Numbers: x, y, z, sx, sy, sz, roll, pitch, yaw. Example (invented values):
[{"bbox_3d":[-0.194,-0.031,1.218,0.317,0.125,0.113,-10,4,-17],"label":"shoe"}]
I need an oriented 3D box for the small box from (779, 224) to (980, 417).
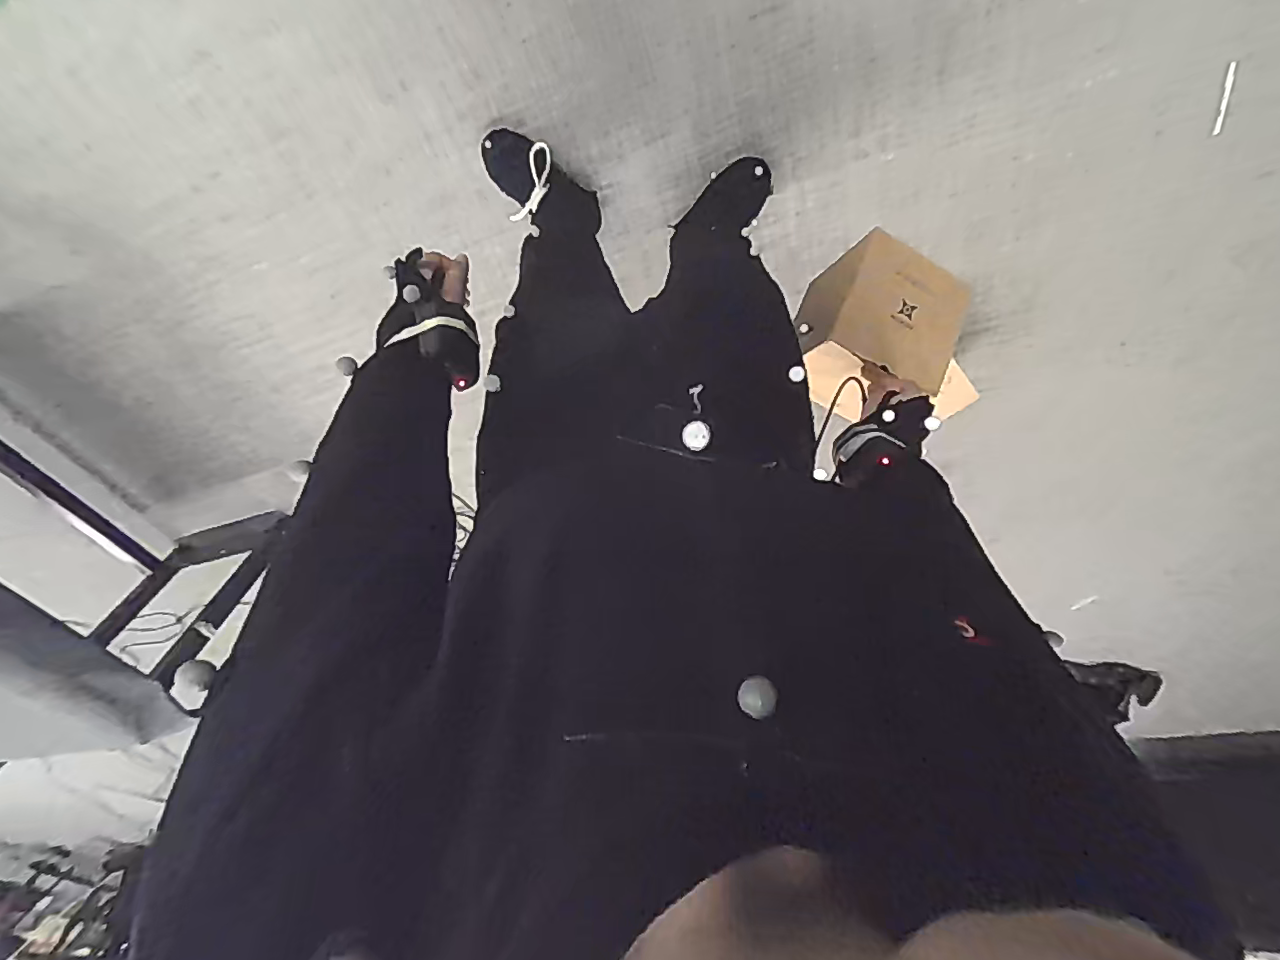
[{"bbox_3d":[0.319,-0.206,0.757,0.168,0.179,0.176,26,171,-9],"label":"small box"}]
